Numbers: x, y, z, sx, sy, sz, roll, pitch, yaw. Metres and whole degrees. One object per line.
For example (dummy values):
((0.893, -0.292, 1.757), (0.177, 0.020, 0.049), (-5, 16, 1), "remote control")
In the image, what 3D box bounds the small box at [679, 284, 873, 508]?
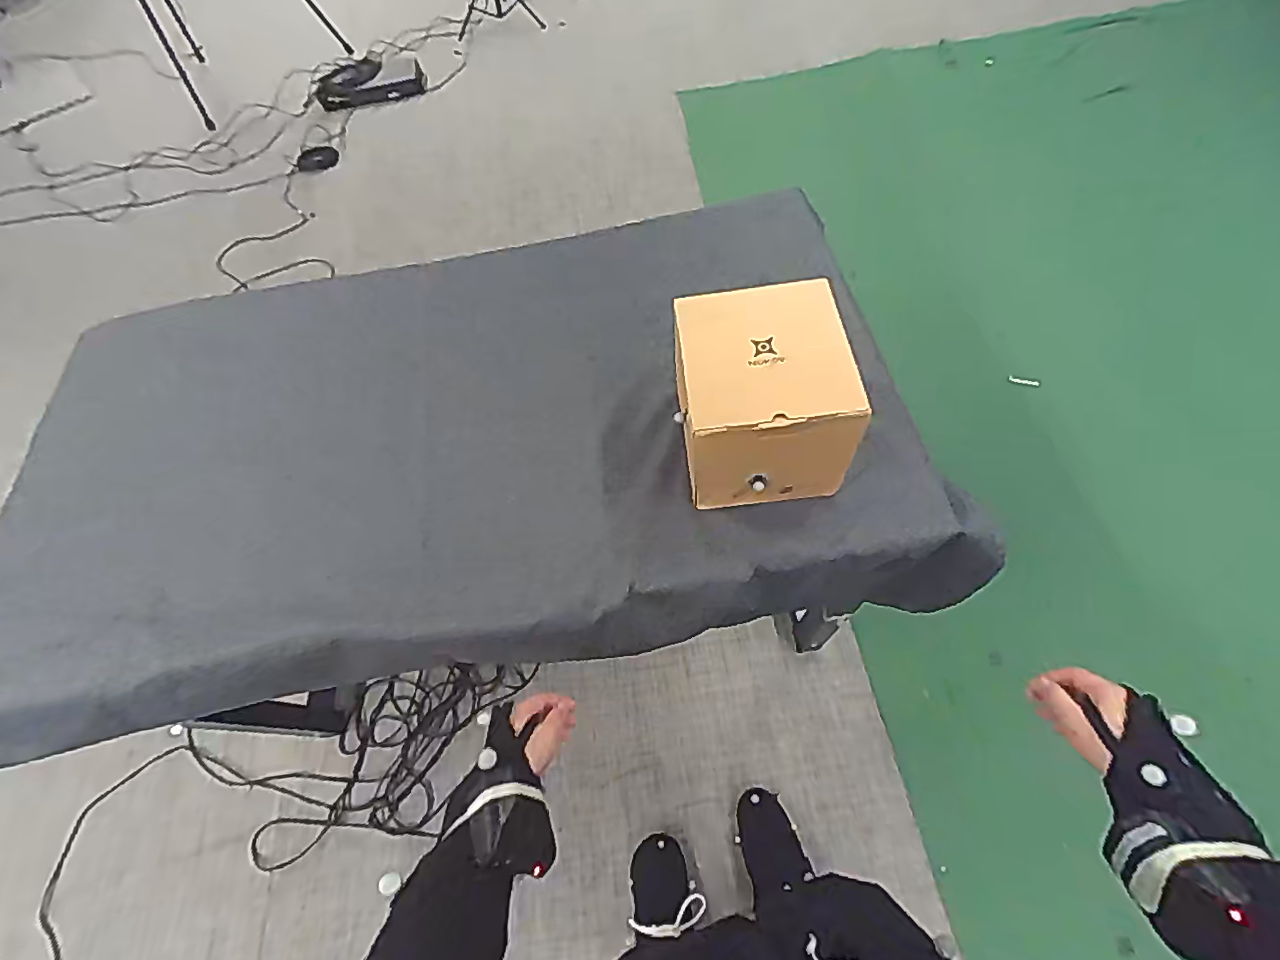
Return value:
((0.134, -0.087, 0.607), (0.168, 0.176, 0.179), (-7, 61, 3), "small box")
